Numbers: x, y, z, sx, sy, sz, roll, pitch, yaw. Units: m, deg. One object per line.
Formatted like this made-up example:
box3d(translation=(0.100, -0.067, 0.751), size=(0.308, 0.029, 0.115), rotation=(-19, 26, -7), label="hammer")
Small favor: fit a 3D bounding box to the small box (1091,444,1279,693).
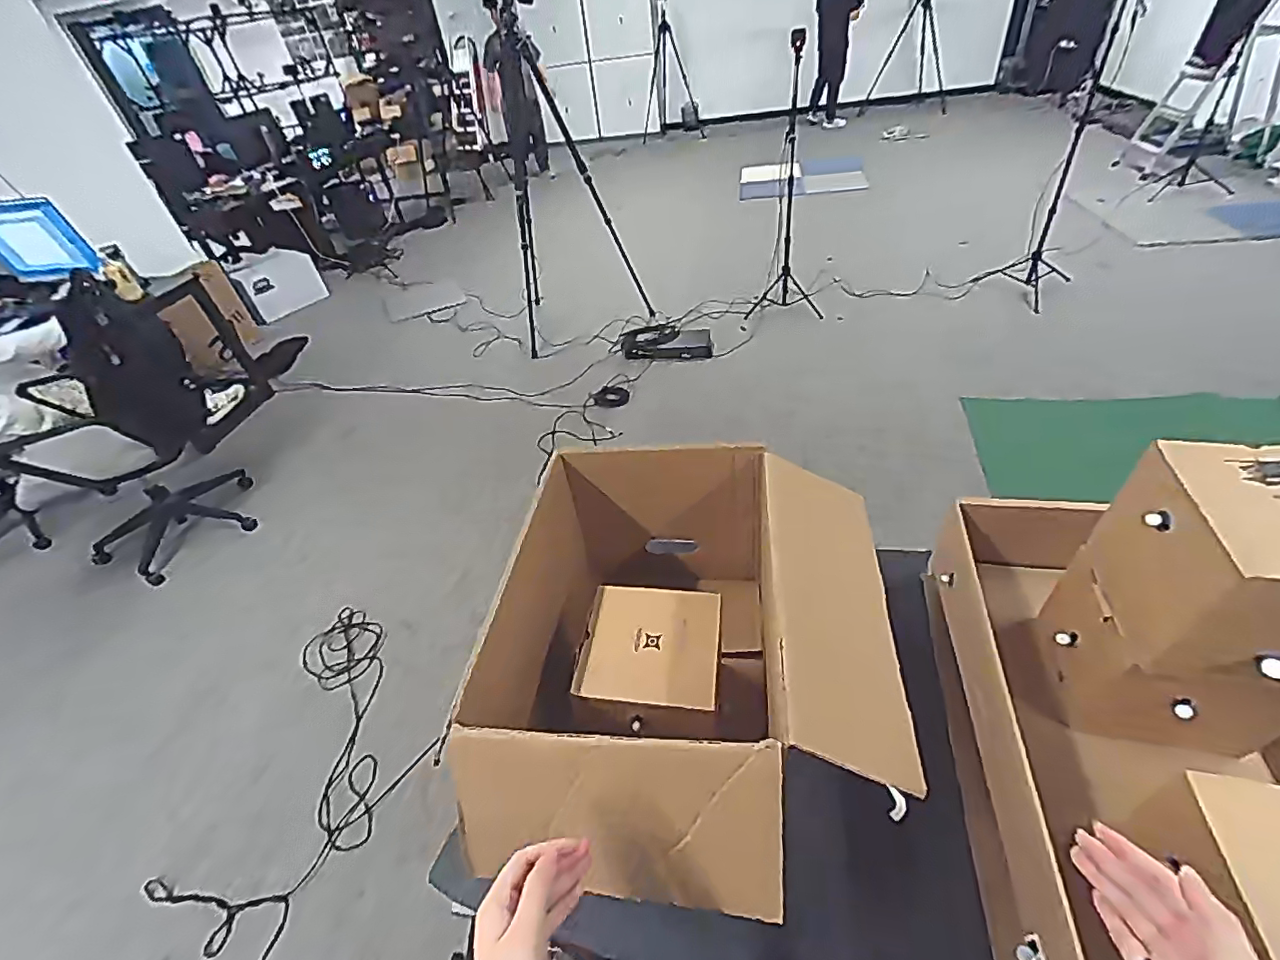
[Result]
box3d(translation=(0.598, 0.086, 0.536), size=(0.168, 0.176, 0.179), rotation=(3, 45, 15), label="small box")
